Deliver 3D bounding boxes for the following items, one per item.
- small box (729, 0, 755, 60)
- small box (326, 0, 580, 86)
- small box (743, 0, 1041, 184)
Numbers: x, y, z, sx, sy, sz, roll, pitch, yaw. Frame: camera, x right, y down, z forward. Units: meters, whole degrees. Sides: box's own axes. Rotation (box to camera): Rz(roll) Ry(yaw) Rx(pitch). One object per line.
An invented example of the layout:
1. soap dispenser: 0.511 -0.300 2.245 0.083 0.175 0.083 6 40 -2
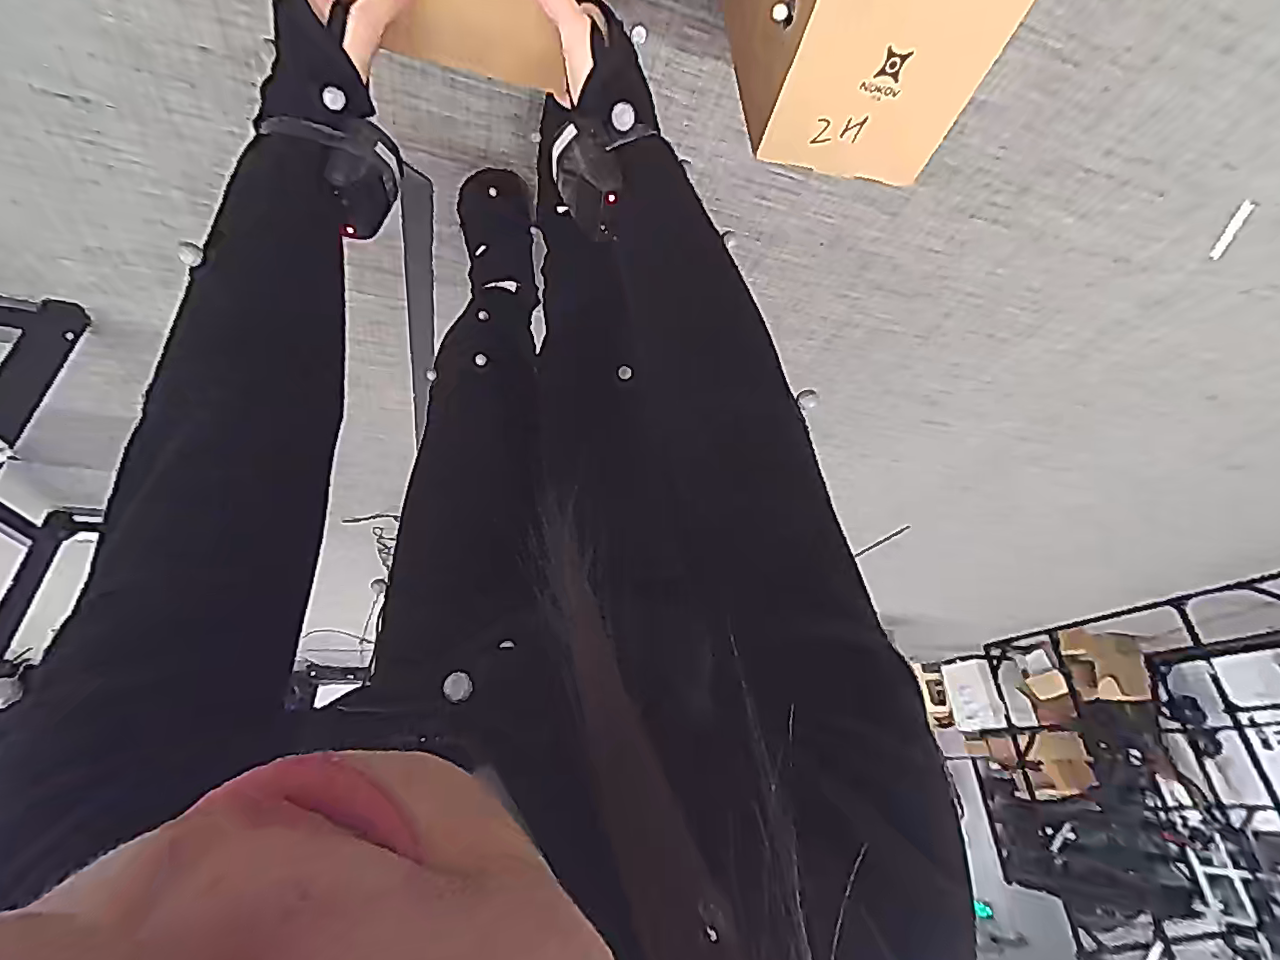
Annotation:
1. small box: 0.193 -0.550 0.545 0.168 0.176 0.179 3 152 -10
2. small box: -0.125 -0.434 0.385 0.179 0.176 0.168 6 151 -14
3. small box: 0.199 -0.403 0.470 0.168 0.176 0.179 4 152 -11
